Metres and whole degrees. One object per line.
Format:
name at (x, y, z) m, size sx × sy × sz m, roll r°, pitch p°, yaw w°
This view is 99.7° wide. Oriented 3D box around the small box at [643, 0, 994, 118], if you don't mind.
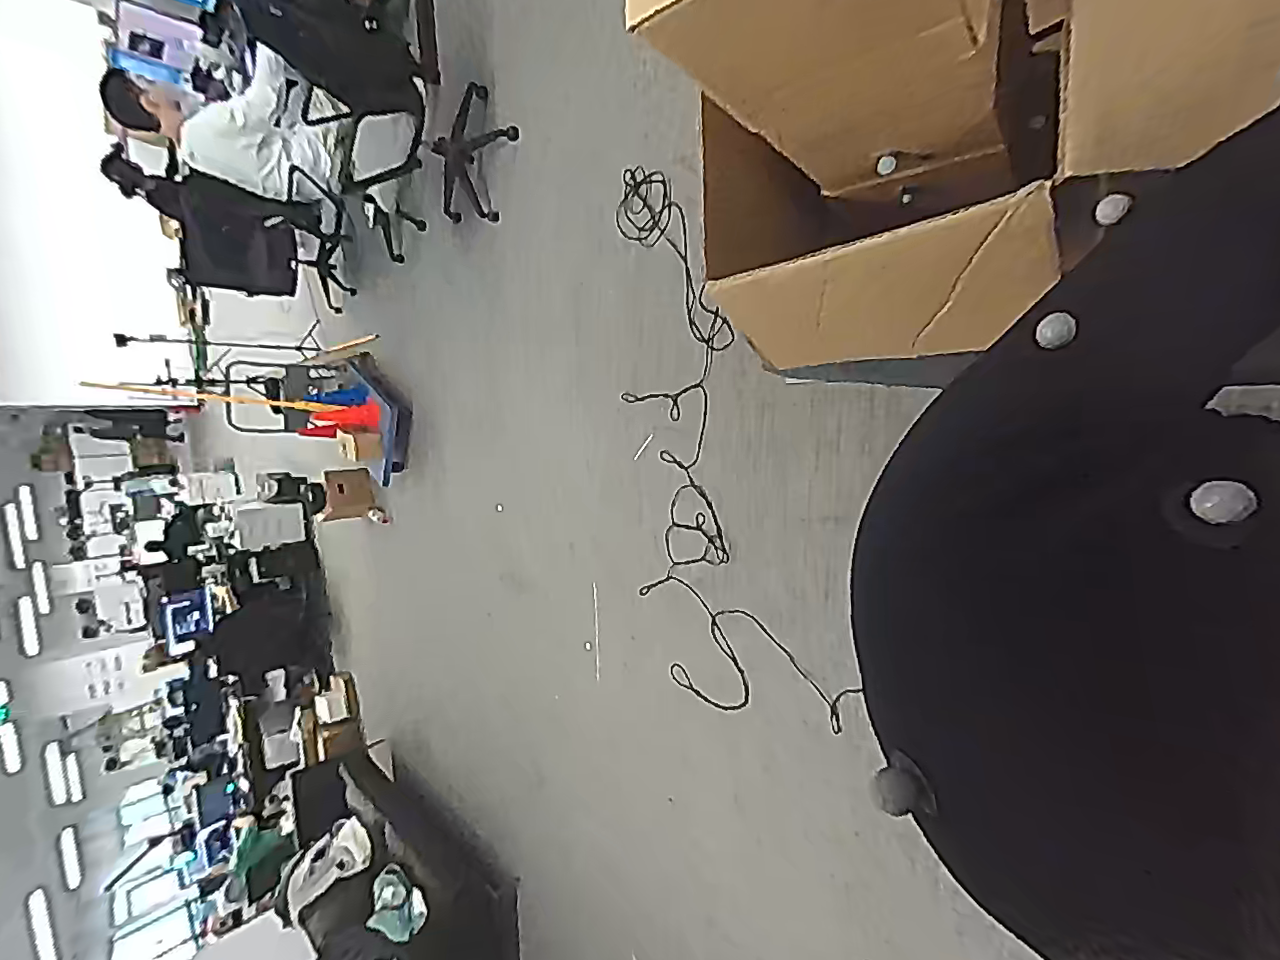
small box at (0.121, -0.376, 0.351) m, size 0.179 × 0.176 × 0.168 m, roll 6°, pitch 99°, yaw 39°
